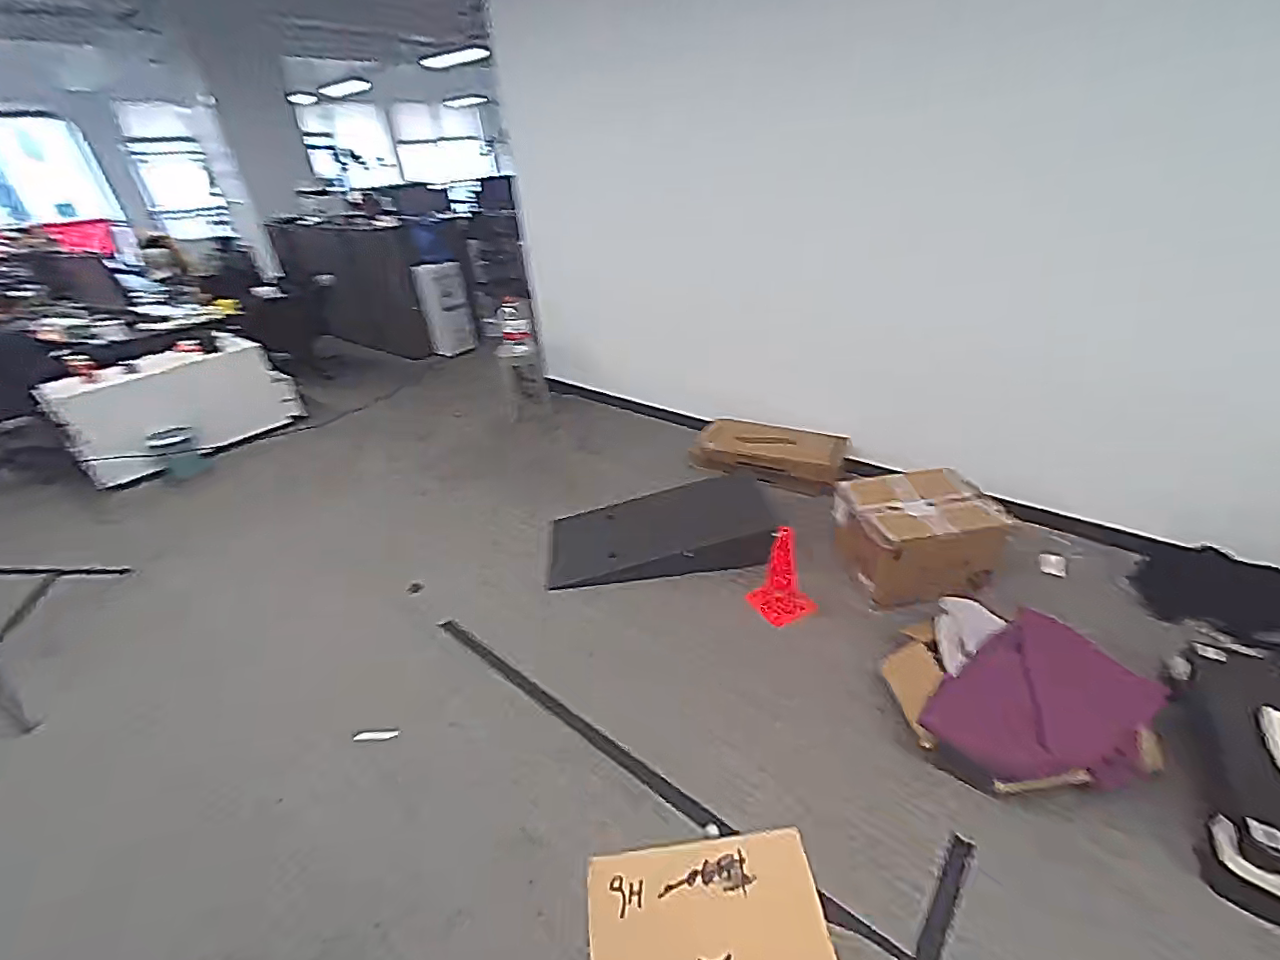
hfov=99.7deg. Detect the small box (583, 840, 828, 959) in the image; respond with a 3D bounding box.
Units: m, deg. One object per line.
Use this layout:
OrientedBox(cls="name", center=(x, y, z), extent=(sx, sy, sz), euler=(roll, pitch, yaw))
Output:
OrientedBox(cls="small box", center=(0.051, 0.400, 0.403), extent=(0.168, 0.176, 0.179), euler=(-6, 44, -5))
